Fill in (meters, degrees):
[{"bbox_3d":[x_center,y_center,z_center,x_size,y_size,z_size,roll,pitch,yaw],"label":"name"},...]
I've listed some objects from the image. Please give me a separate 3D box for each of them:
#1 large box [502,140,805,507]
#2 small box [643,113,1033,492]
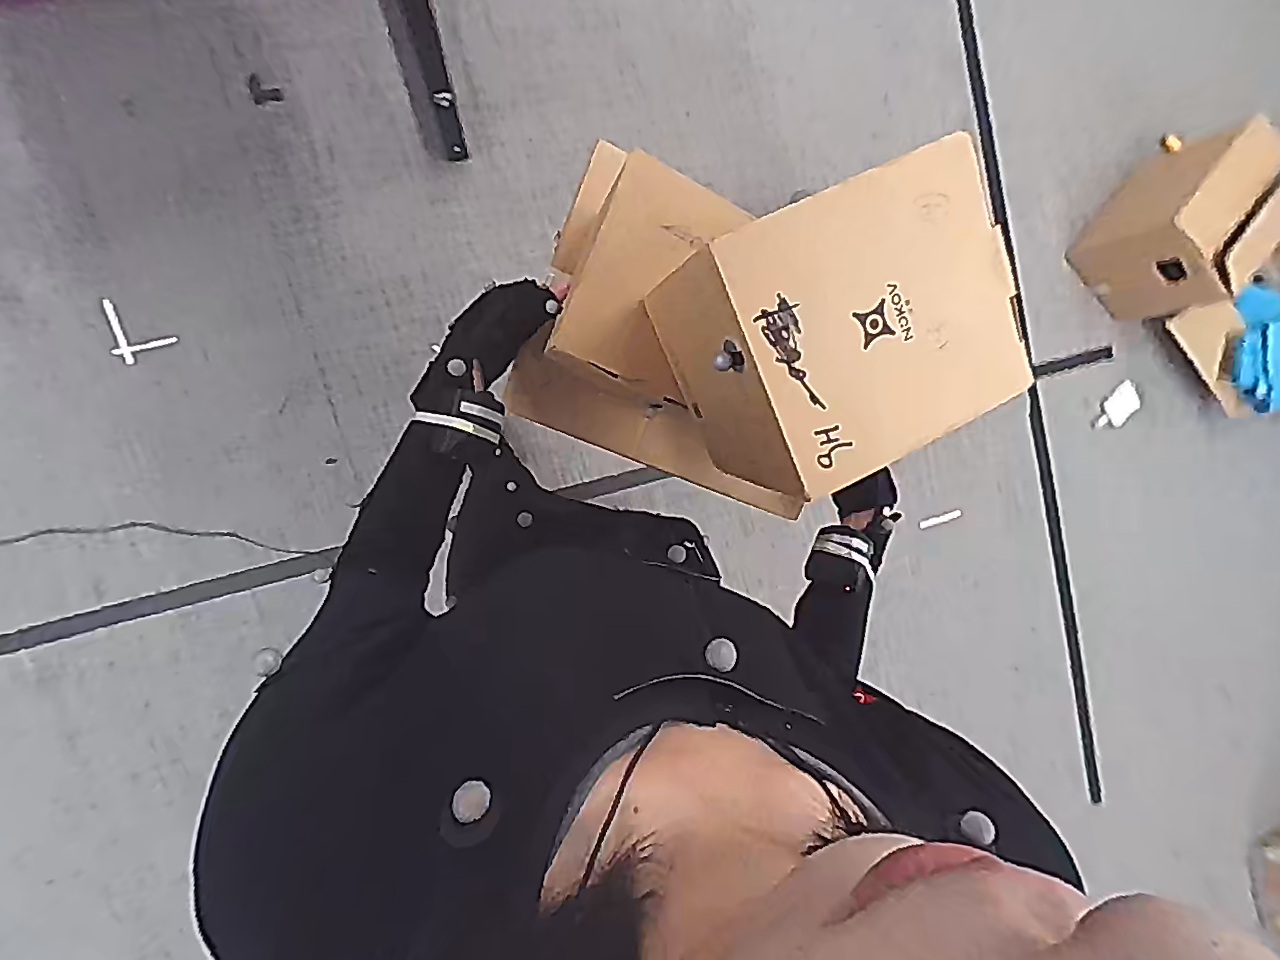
[{"bbox_3d":[0.039,-0.187,0.782,0.408,0.320,0.320,19,94,-16],"label":"large box"},{"bbox_3d":[0.124,-0.112,0.390,0.179,0.176,0.168,-27,102,-8],"label":"small box"}]
